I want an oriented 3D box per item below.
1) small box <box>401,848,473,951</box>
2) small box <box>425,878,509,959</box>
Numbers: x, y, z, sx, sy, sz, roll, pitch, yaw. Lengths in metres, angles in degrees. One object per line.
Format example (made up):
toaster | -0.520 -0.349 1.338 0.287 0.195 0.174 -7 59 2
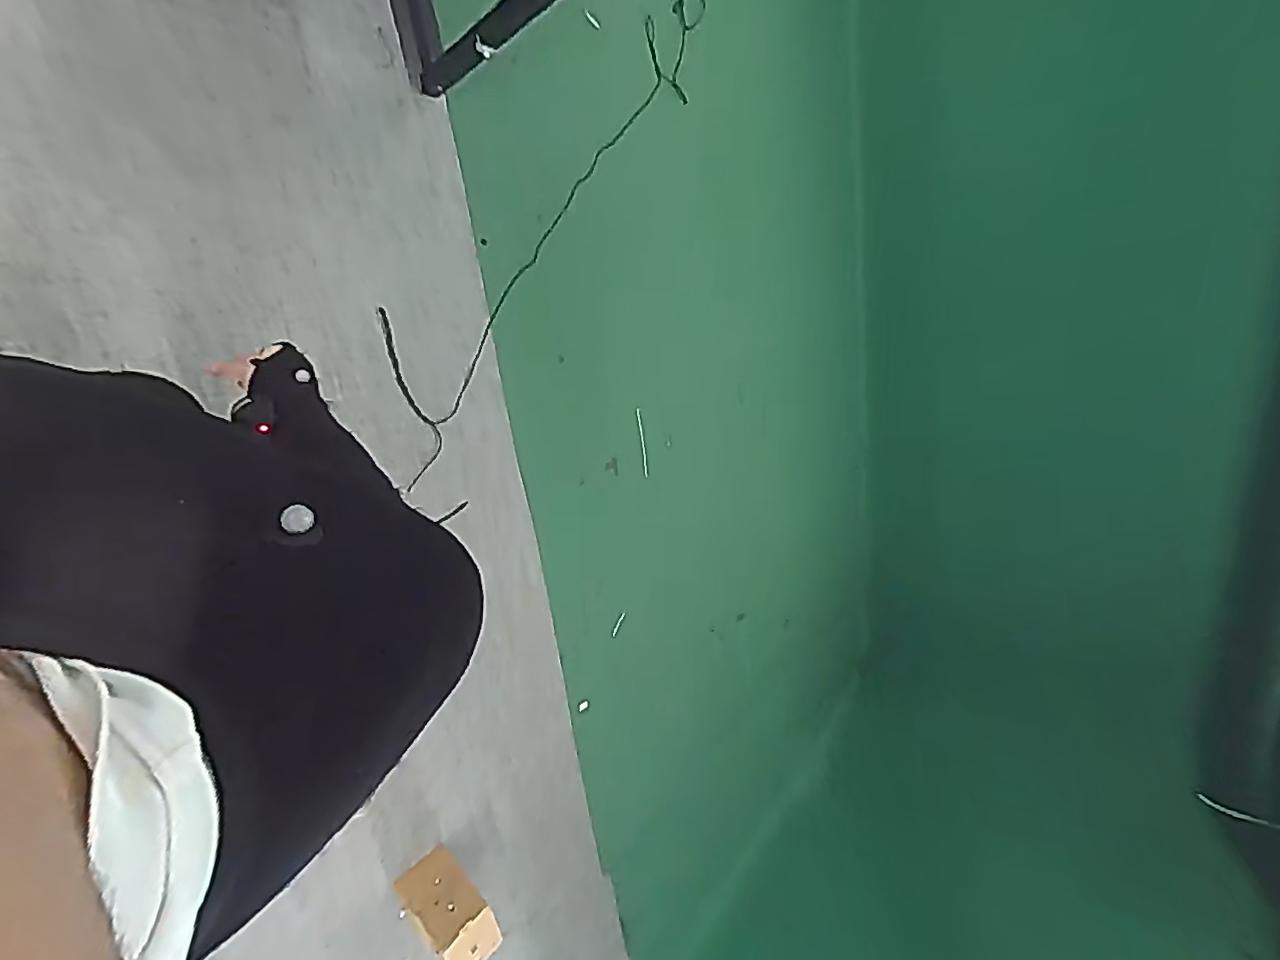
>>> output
small box | -0.666 1.388 1.804 0.179 0.176 0.168 -24 112 -41
small box | -0.545 1.403 1.695 0.168 0.176 0.179 -28 114 -40
